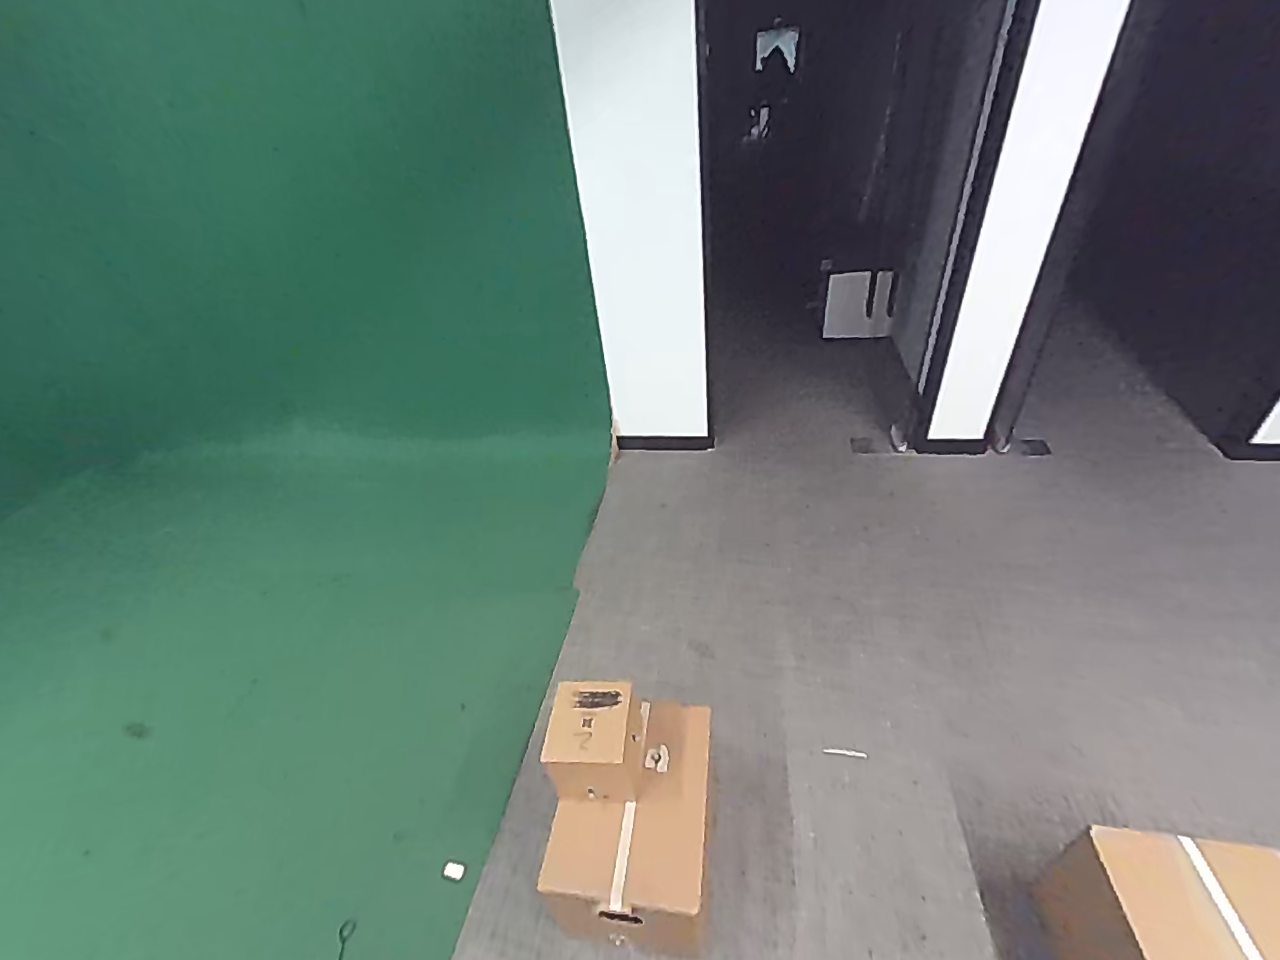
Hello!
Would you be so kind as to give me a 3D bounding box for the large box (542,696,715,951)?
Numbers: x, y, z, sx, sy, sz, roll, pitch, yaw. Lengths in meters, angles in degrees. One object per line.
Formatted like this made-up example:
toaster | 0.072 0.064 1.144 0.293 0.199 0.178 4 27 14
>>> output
large box | 0.006 0.772 1.244 0.320 0.320 0.408 0 37 11
